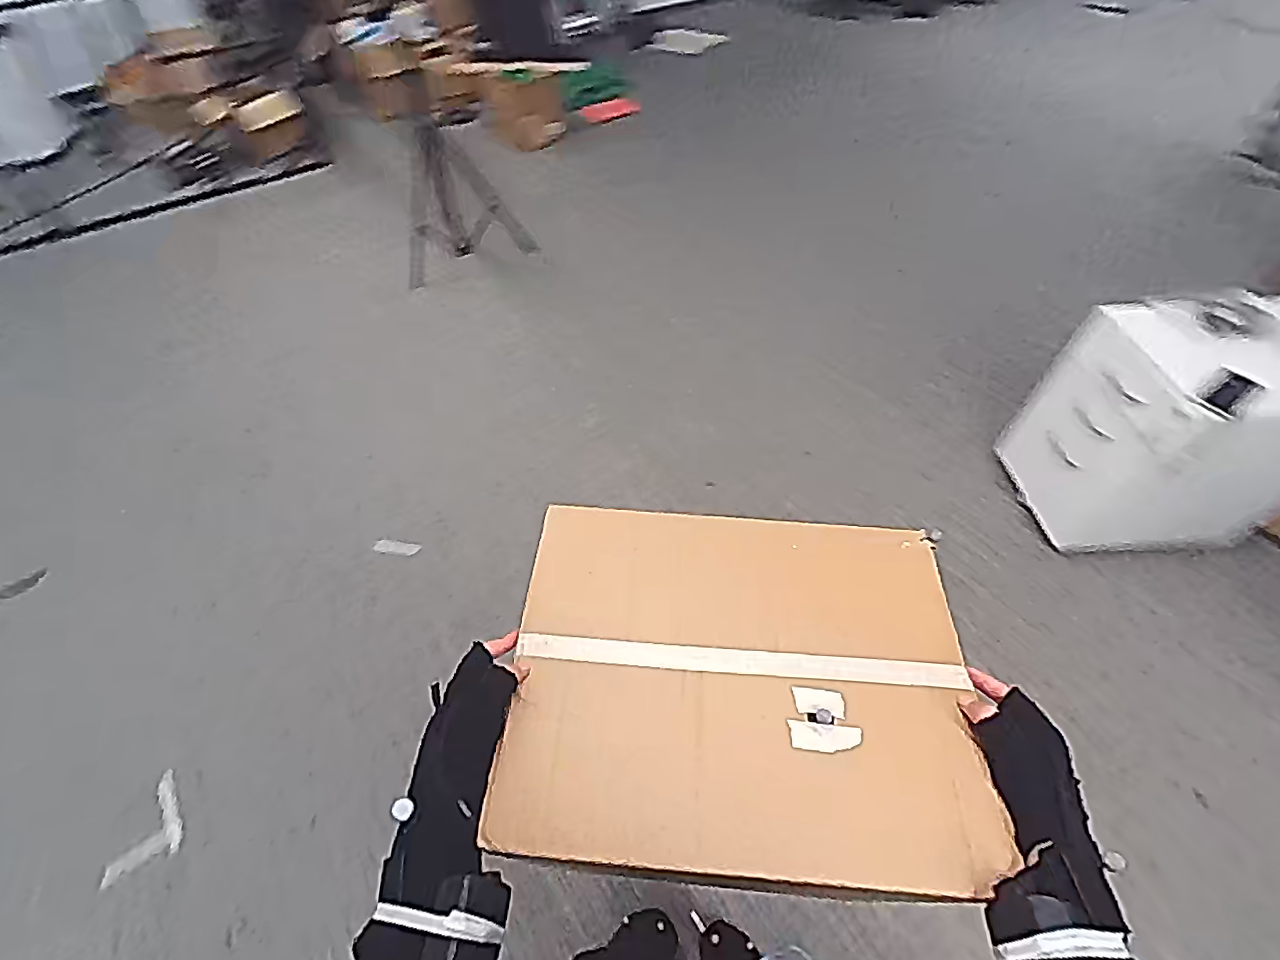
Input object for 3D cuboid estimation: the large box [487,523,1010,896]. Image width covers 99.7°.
[{"bbox_3d":[0.082,0.267,0.611,0.408,0.320,0.320,3,54,1],"label":"large box"}]
